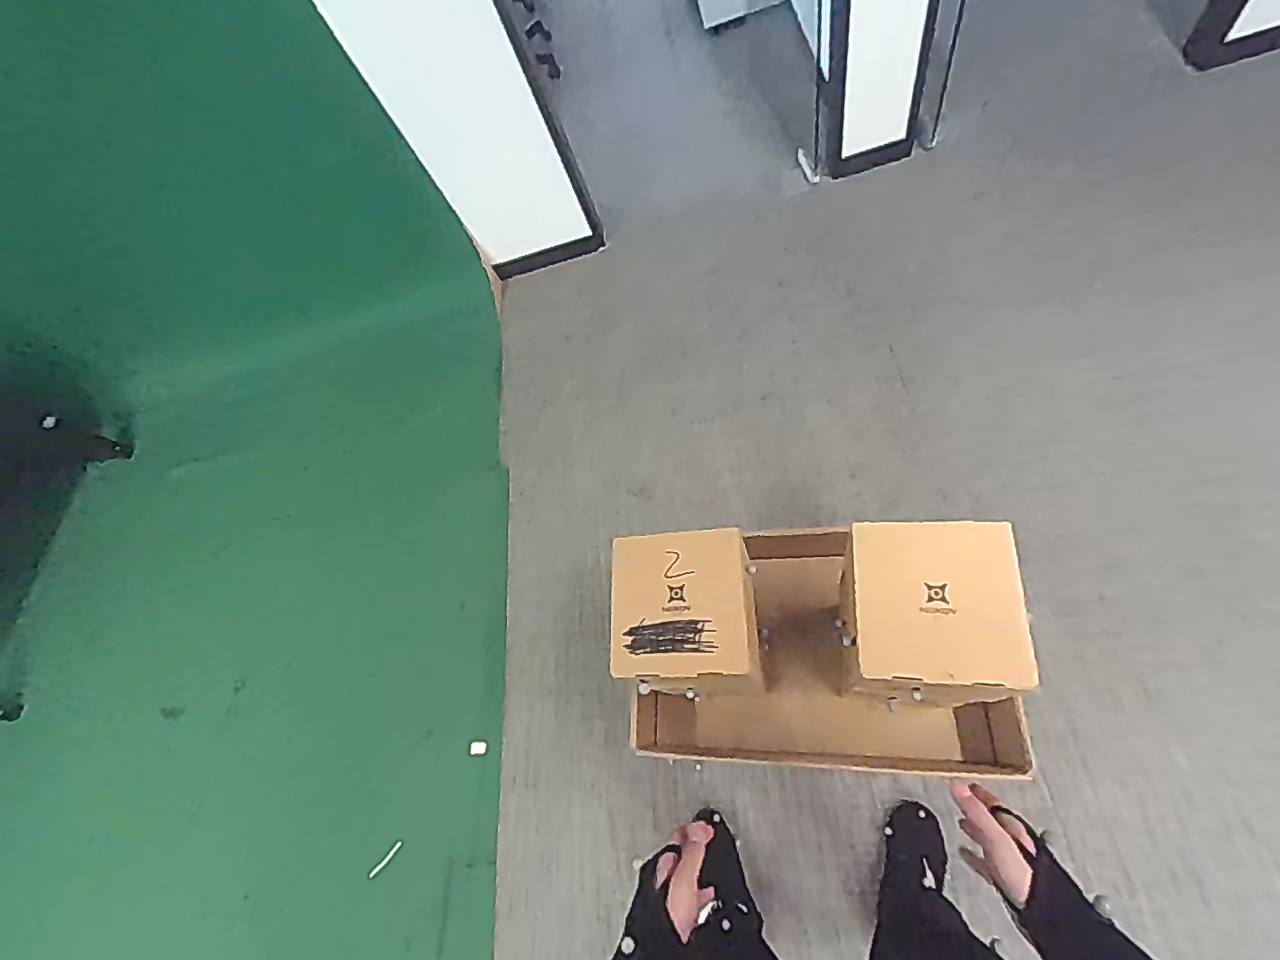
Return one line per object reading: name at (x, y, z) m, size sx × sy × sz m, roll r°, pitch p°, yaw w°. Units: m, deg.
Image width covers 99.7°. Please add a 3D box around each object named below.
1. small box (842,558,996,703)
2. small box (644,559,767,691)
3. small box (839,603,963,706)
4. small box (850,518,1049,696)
small box at (0.389, 0.221, 0.788) m, size 0.168 × 0.176 × 0.179 m, roll -1°, pitch 66°, yaw 17°
small box at (0.108, 0.237, 0.862) m, size 0.168 × 0.176 × 0.179 m, roll -7°, pitch 64°, yaw 15°
small box at (0.437, 0.284, 0.930) m, size 0.168 × 0.176 × 0.179 m, roll -1°, pitch 67°, yaw 17°
small box at (0.347, 0.155, 0.646) m, size 0.168 × 0.176 × 0.179 m, roll -2°, pitch 66°, yaw 17°
